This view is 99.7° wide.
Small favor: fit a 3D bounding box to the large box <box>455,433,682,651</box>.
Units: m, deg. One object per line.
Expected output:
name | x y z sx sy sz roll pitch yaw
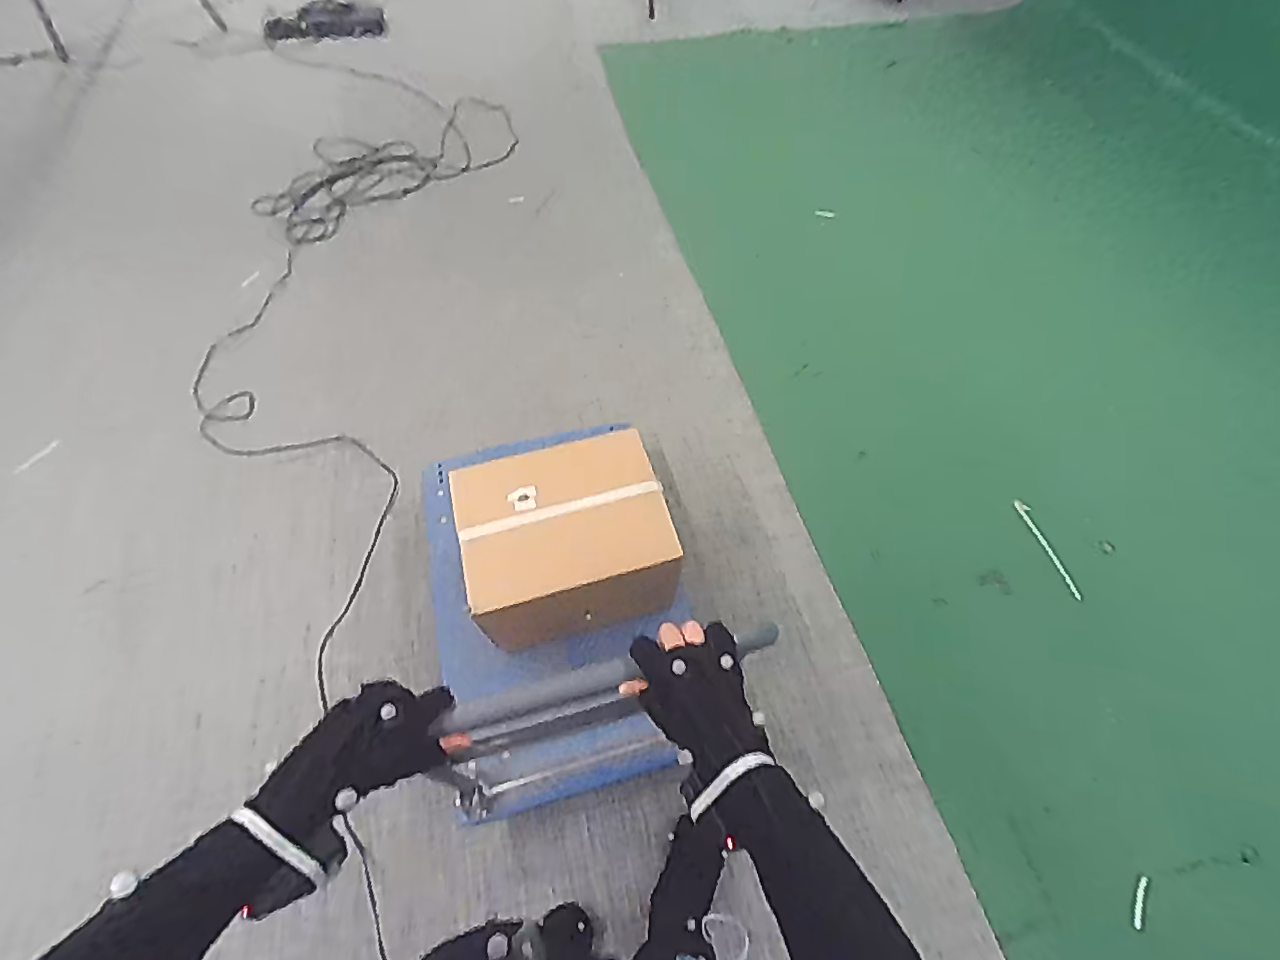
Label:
large box | -0.149 0.147 1.207 0.408 0.320 0.320 -15 60 -8
